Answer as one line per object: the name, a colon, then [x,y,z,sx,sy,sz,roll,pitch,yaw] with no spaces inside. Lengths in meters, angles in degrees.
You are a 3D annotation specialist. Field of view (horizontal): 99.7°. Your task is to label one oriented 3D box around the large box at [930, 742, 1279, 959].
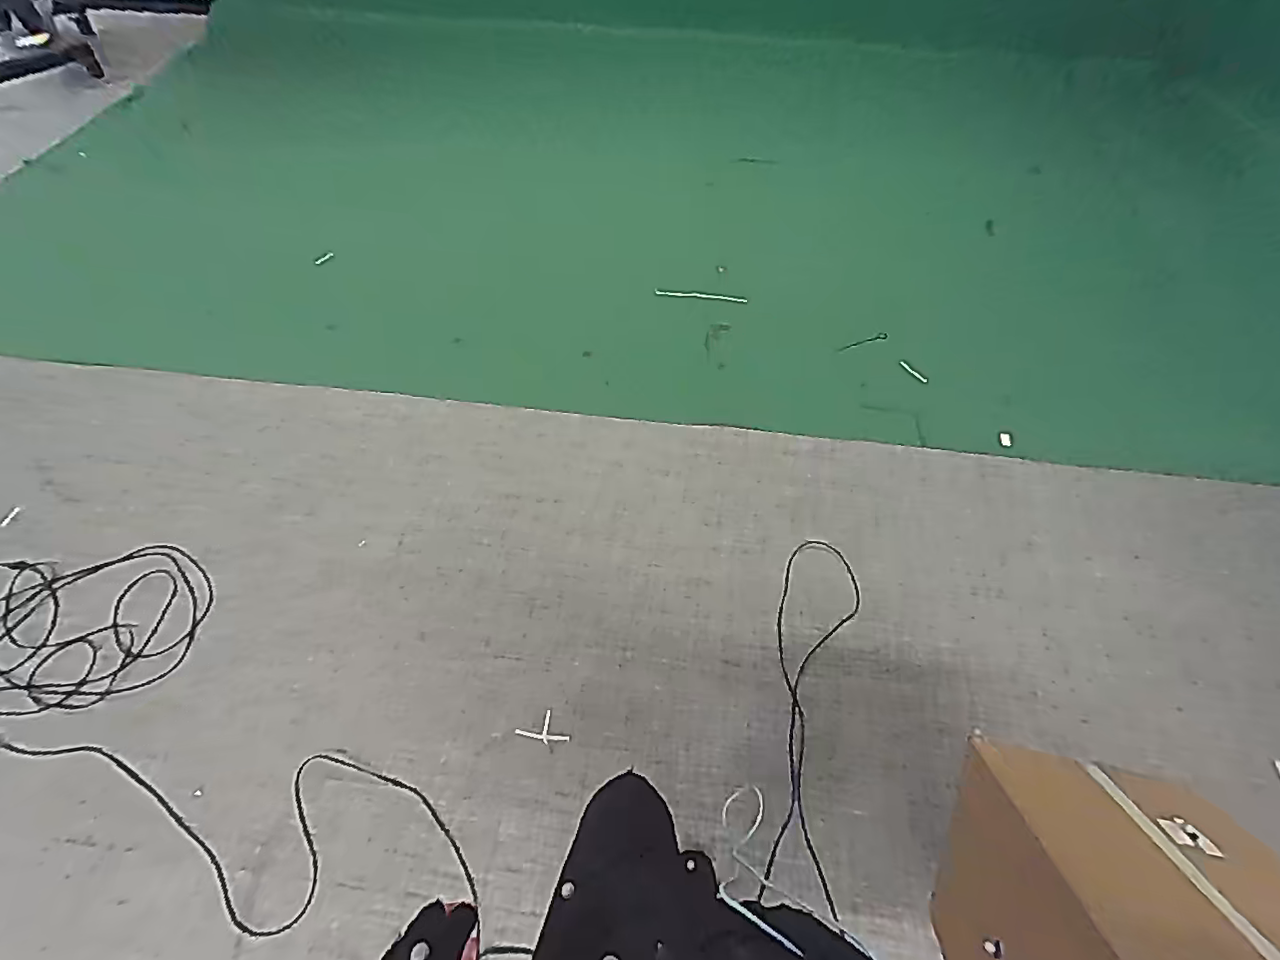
large box: [0.598,0.601,0.648,0.320,0.408,0.320,10,98,11]
